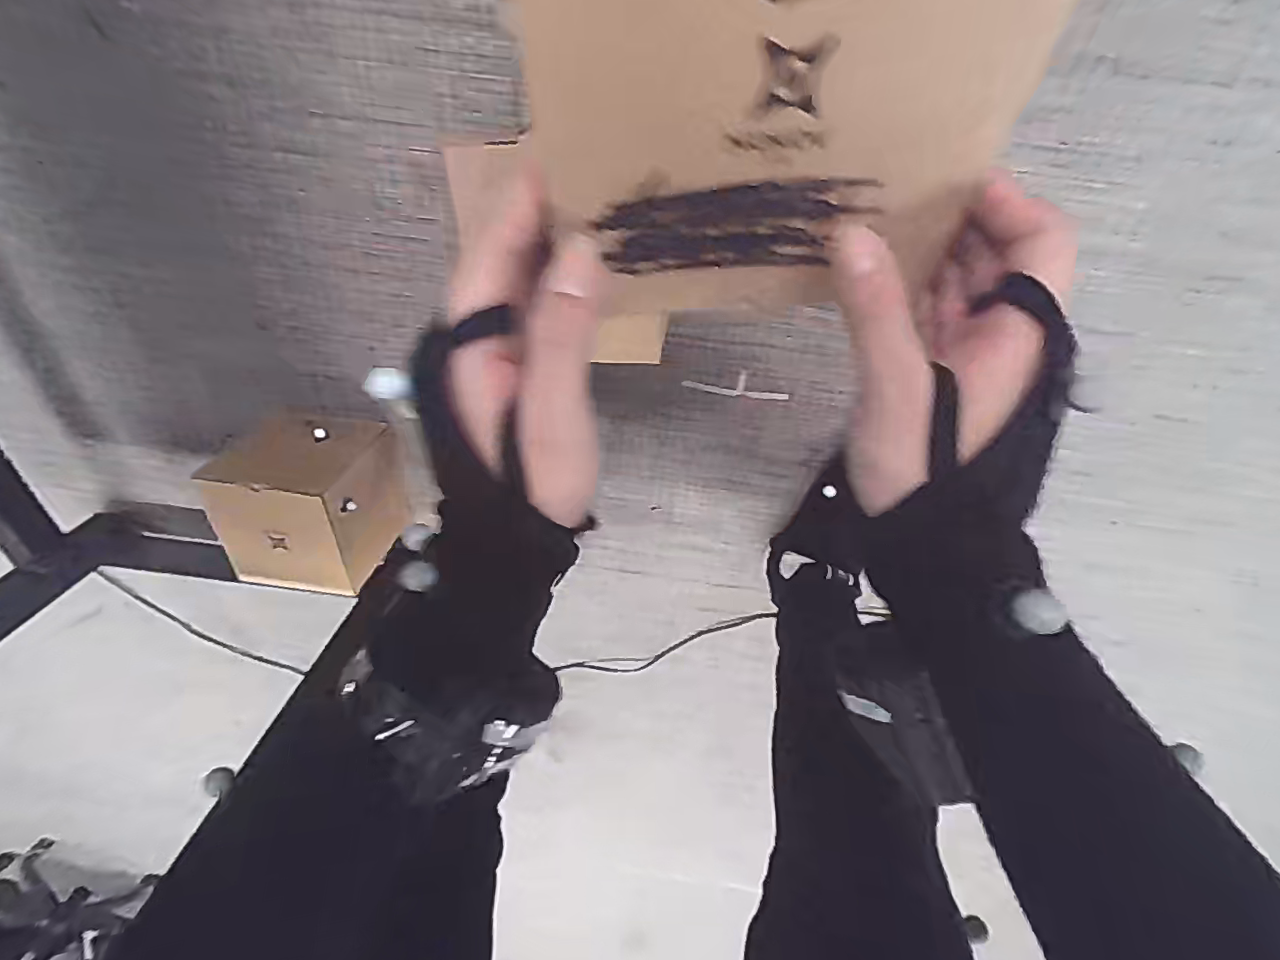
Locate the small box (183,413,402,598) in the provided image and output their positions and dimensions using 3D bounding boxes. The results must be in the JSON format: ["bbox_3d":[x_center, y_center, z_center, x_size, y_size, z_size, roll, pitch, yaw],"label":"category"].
[{"bbox_3d":[-0.451,0.031,0.740,0.168,0.176,0.179,7,125,3],"label":"small box"}]
